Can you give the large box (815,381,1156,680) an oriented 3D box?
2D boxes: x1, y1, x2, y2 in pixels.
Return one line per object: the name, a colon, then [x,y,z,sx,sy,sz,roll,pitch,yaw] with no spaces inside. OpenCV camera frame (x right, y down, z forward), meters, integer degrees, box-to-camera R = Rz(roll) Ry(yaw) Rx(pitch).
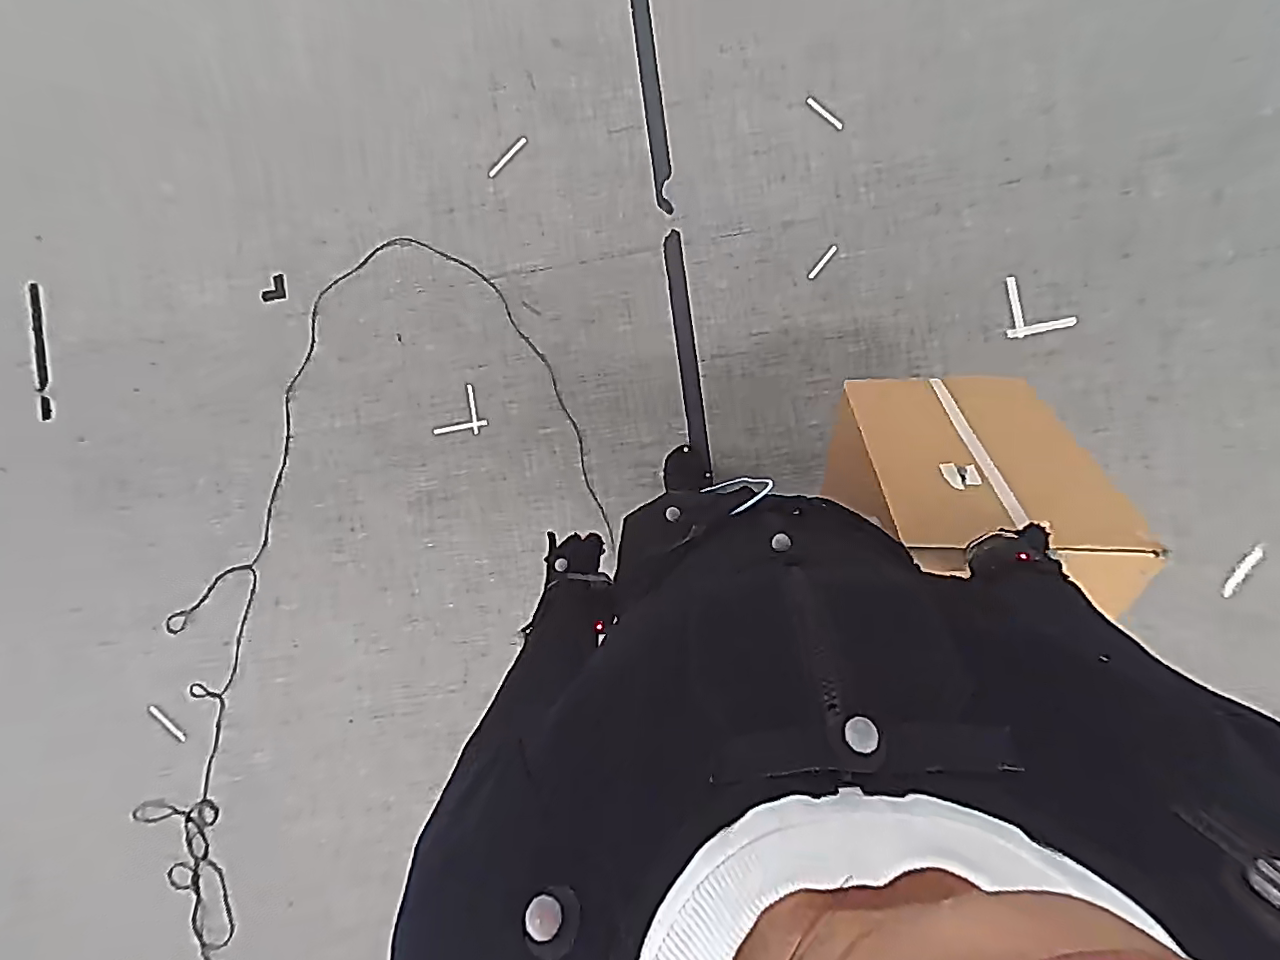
large box: [0.502,0.072,0.915,0.320,0.408,0.320,0,132,7]
